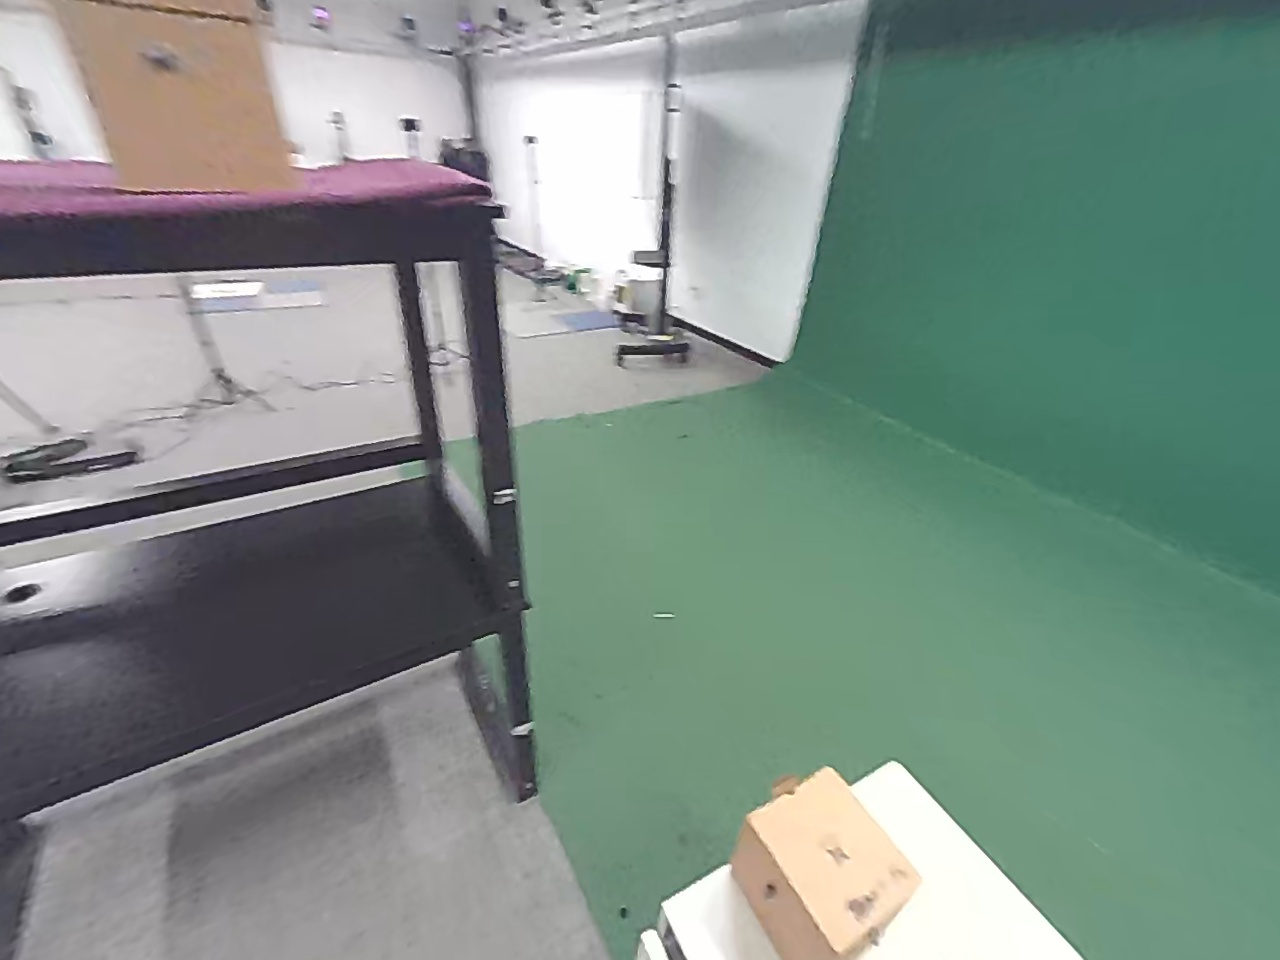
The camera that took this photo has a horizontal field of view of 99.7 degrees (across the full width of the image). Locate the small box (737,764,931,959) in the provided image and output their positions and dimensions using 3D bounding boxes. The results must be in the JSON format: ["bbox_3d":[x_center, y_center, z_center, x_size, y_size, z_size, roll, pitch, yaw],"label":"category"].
[{"bbox_3d":[0.257,0.552,0.760,0.168,0.176,0.179,-13,36,-26],"label":"small box"}]

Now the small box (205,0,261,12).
[{"bbox_3d":[-0.520,-0.584,0.557,0.179,0.176,0.168,-16,34,-28],"label":"small box"}]

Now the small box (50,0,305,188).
[{"bbox_3d":[-0.521,-0.441,0.636,0.179,0.176,0.168,-16,34,-29],"label":"small box"}]
